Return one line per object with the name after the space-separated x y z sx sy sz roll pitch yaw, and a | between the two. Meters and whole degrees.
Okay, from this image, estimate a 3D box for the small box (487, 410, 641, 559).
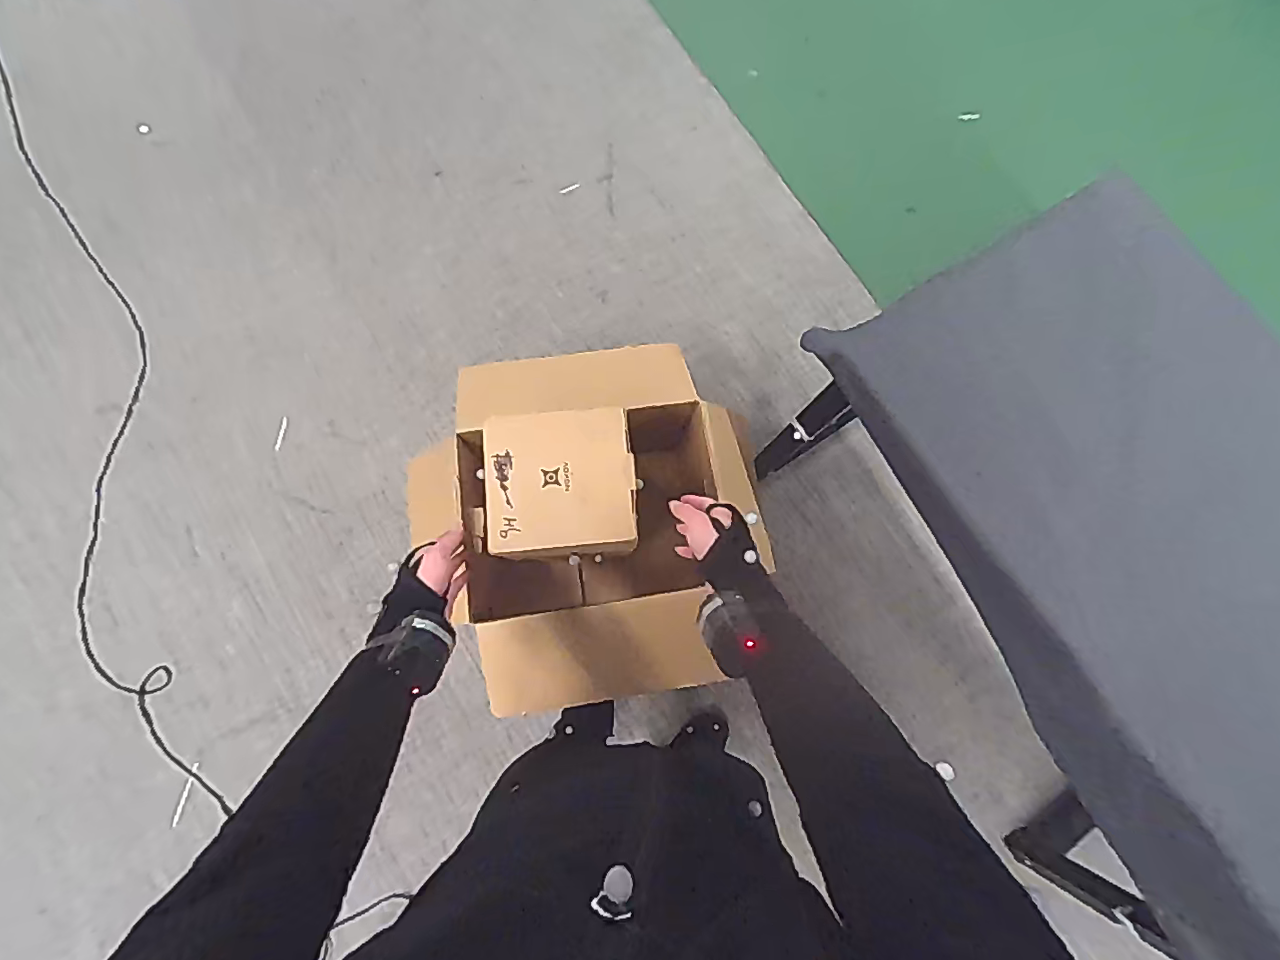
-0.096 0.013 0.718 0.179 0.176 0.168 -5 79 -3 | small box
